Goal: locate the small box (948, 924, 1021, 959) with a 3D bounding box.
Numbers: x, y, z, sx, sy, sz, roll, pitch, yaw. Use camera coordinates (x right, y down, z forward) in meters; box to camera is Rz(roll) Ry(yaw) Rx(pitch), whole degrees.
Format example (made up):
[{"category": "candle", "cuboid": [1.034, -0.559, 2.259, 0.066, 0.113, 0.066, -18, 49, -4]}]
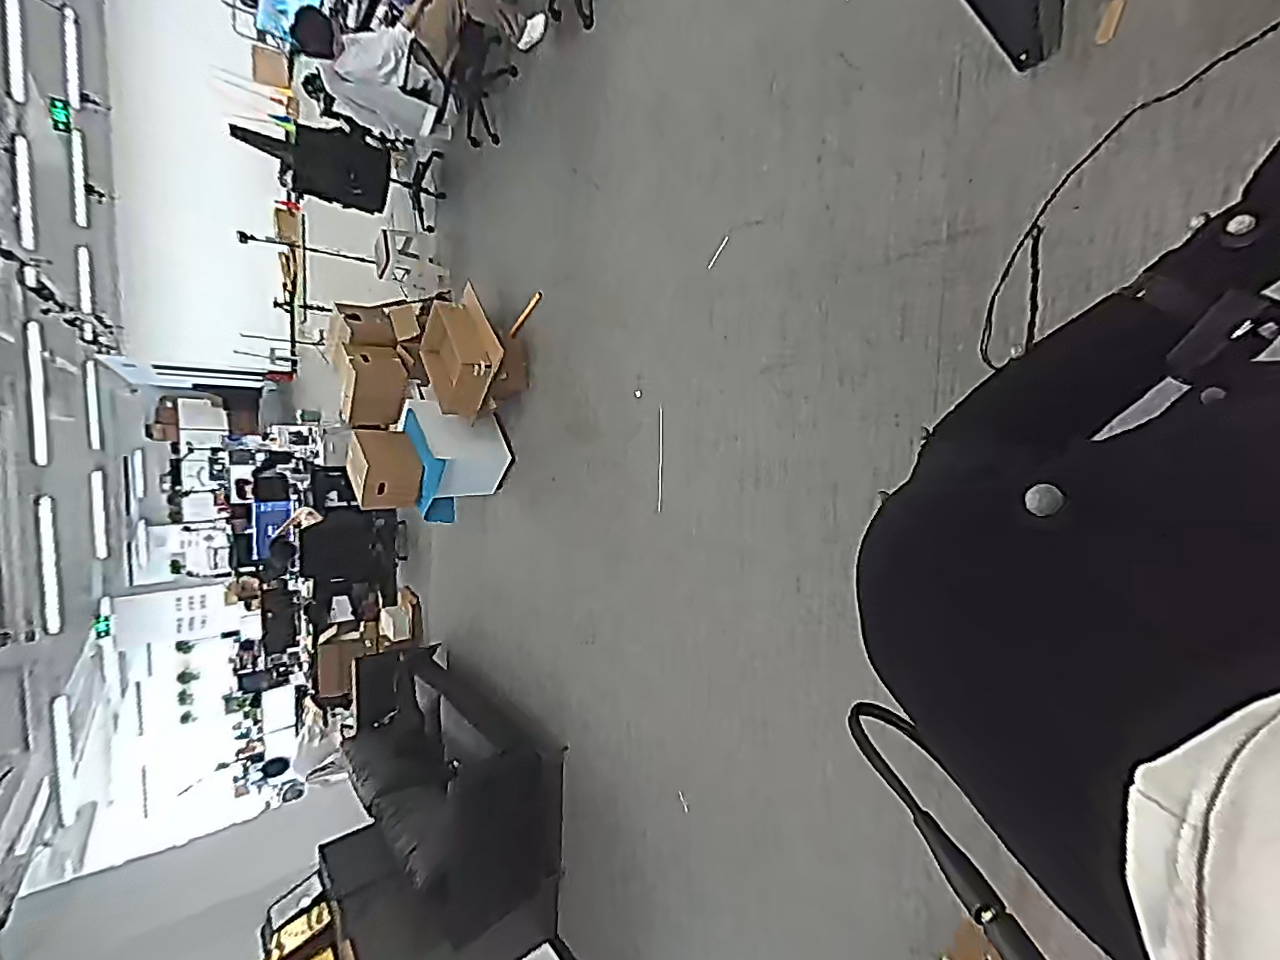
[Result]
[{"category": "small box", "cuboid": [0.937, 1.367, 1.459, 0.168, 0.176, 0.179, 19, 106, 49]}]
